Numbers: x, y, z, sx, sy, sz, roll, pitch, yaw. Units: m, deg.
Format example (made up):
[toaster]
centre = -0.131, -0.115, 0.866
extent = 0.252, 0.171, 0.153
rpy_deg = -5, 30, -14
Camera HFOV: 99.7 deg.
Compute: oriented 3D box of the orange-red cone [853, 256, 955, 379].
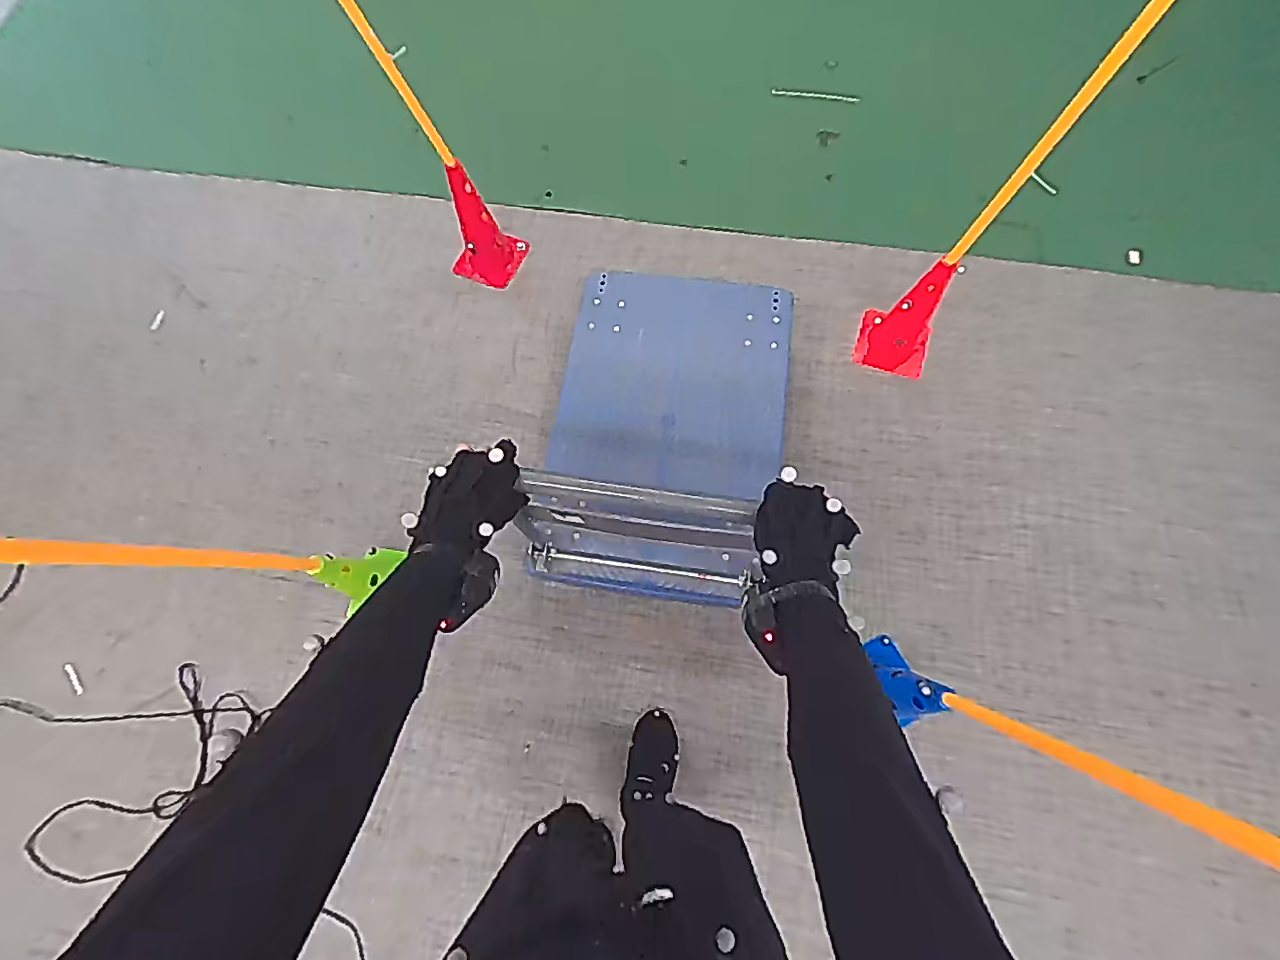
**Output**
[orange-red cone]
centre = 0.743, -0.461, 1.453
extent = 0.198, 0.360, 0.199
rpy_deg = 19, 73, 9
